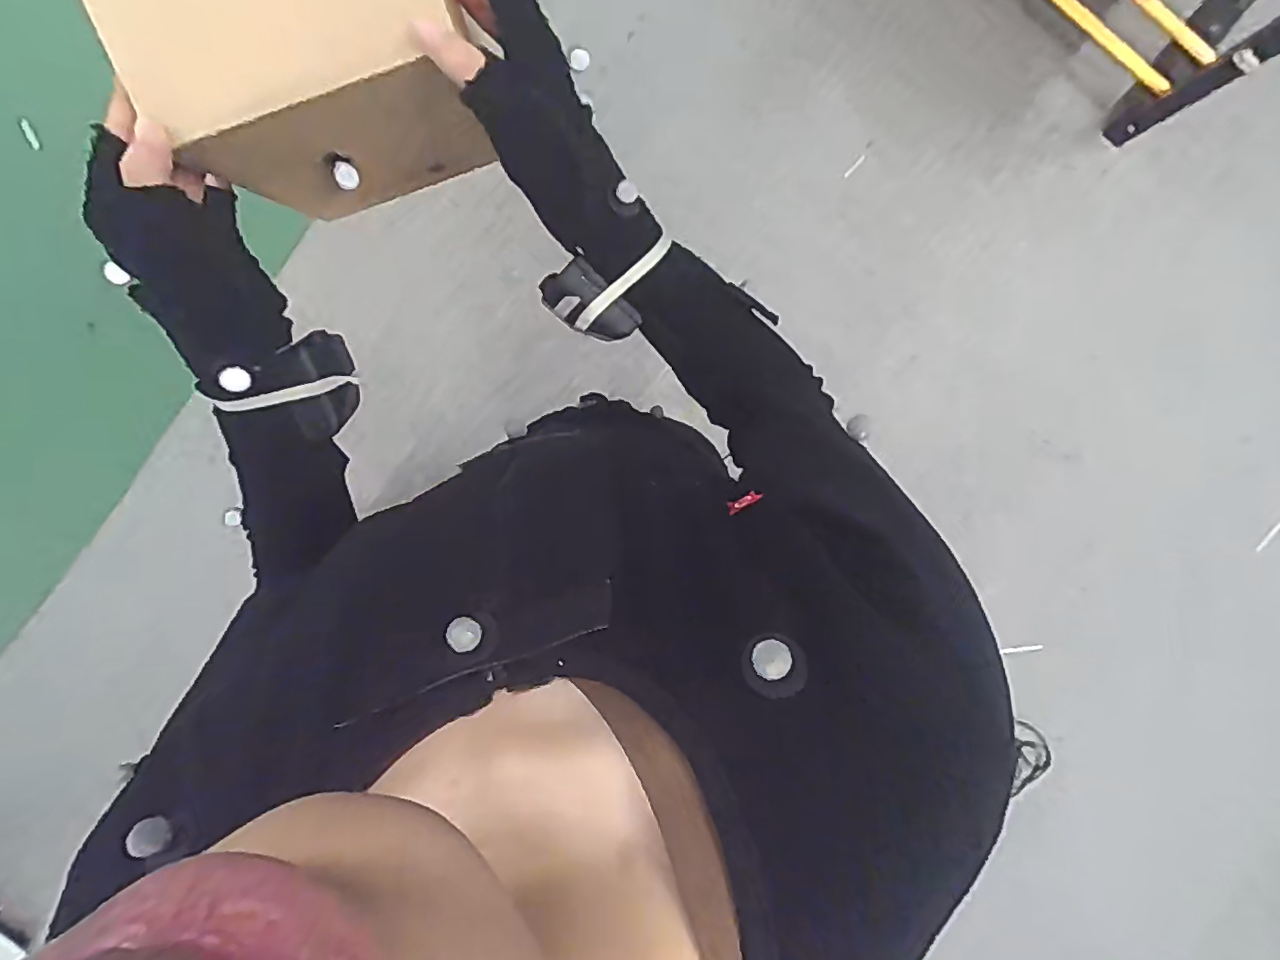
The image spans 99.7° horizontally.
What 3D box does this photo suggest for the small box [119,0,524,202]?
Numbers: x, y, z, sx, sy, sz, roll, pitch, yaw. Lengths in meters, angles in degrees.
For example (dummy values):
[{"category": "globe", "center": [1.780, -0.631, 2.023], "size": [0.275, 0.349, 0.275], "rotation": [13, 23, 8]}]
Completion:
[{"category": "small box", "center": [-0.187, -0.296, 0.338], "size": [0.168, 0.176, 0.179], "rotation": [-18, 104, 2]}]
